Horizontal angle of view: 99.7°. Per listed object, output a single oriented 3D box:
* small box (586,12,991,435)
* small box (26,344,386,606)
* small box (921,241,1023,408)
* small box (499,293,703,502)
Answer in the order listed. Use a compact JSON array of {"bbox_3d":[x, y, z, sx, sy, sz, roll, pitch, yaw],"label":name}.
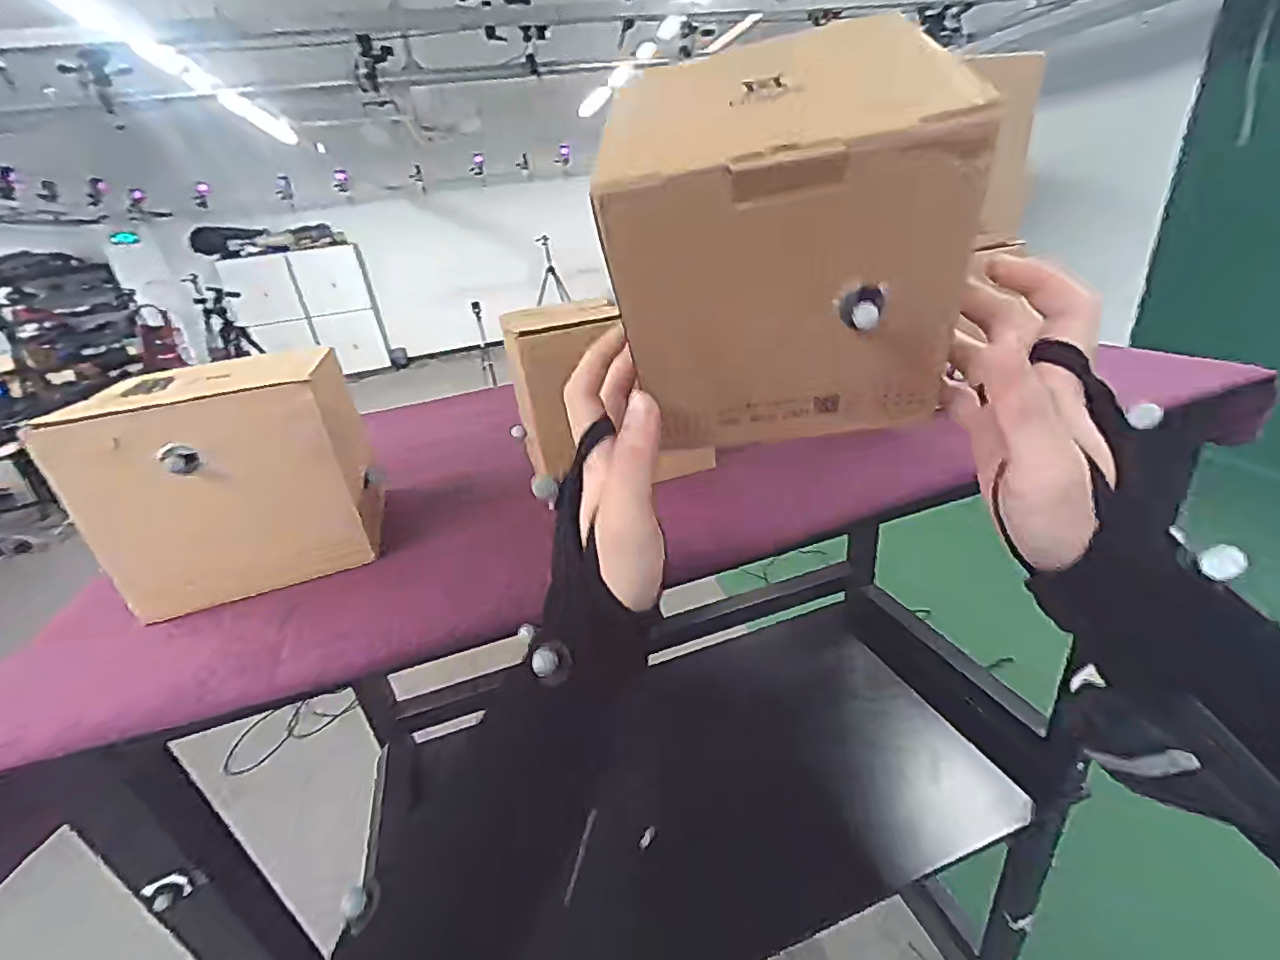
[{"bbox_3d":[0.079,-0.141,0.330,0.168,0.176,0.179,-5,48,12],"label":"small box"},{"bbox_3d":[-0.349,-0.013,0.485,0.179,0.176,0.168,-15,26,-16],"label":"small box"},{"bbox_3d":[0.312,-0.186,0.656,0.179,0.176,0.168,-14,23,-14],"label":"small box"},{"bbox_3d":[-0.040,-0.097,0.573,0.179,0.176,0.168,-14,25,-13],"label":"small box"}]
